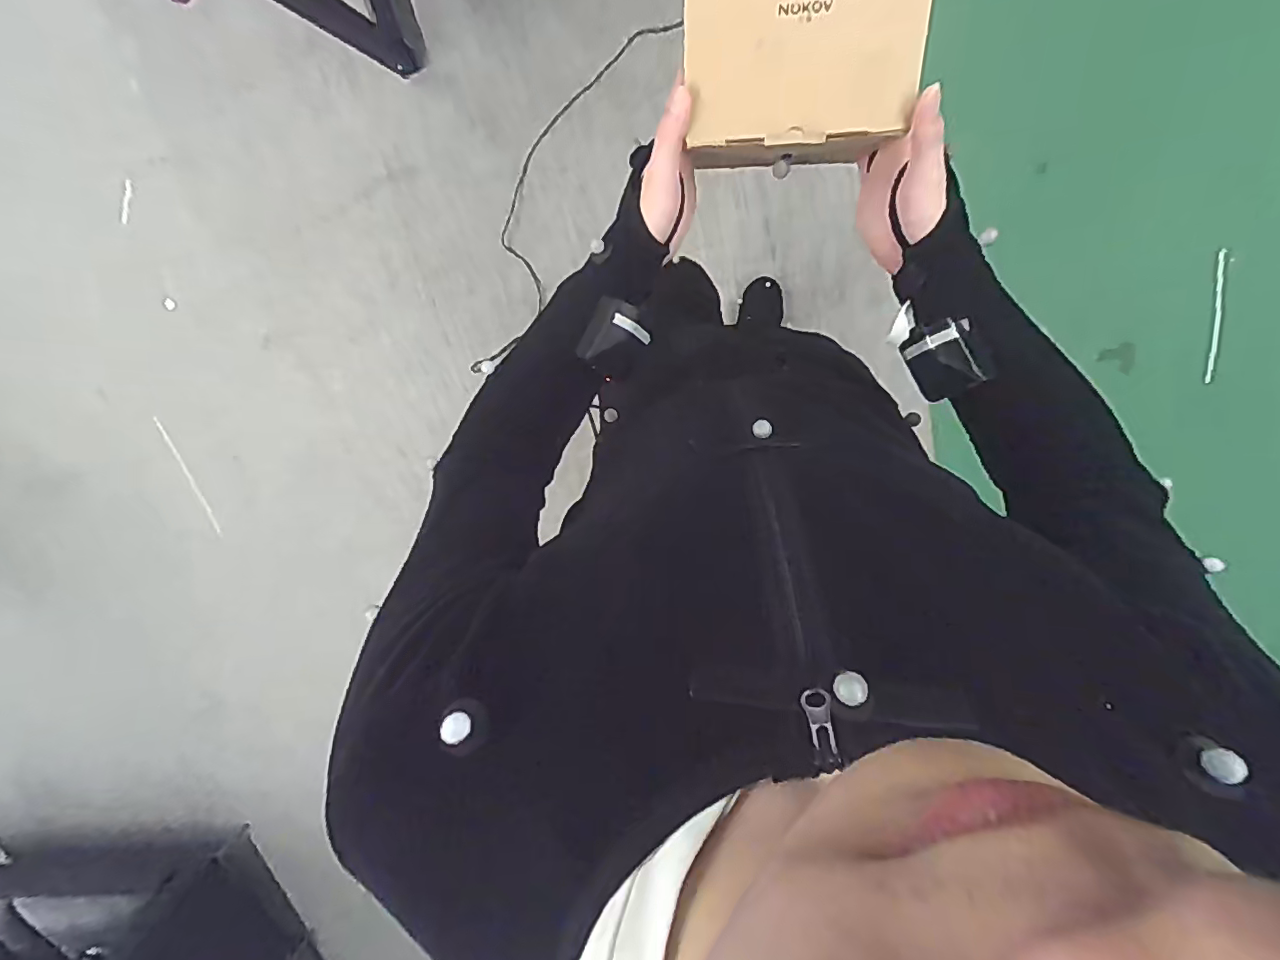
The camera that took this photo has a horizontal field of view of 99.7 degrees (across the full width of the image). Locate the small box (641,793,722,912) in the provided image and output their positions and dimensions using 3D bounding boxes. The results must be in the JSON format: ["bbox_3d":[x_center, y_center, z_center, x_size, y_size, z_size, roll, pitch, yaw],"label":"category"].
[{"bbox_3d":[0.106,0.888,1.303,0.168,0.176,0.179,-4,110,13],"label":"small box"}]

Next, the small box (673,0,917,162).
[{"bbox_3d":[0.117,-0.365,0.438,0.168,0.176,0.179,1,115,9],"label":"small box"}]

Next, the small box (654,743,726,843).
[{"bbox_3d":[0.139,0.833,1.452,0.168,0.176,0.179,-6,110,13],"label":"small box"}]
